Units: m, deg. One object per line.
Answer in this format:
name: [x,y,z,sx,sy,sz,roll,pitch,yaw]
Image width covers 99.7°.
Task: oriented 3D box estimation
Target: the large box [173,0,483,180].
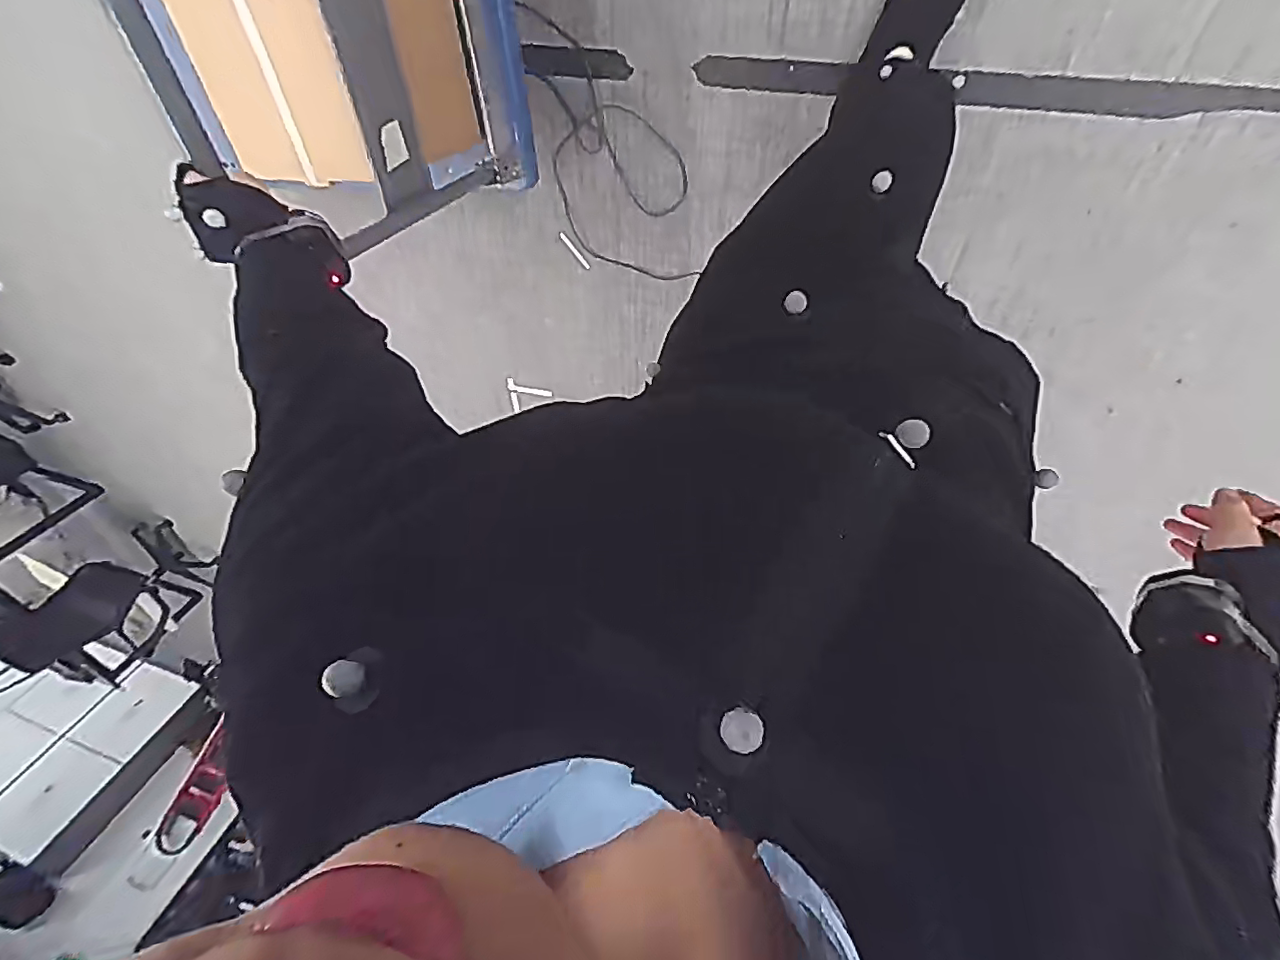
large box: [-0.518,-0.765,0.916,0.320,0.320,0.408,9,132,15]
